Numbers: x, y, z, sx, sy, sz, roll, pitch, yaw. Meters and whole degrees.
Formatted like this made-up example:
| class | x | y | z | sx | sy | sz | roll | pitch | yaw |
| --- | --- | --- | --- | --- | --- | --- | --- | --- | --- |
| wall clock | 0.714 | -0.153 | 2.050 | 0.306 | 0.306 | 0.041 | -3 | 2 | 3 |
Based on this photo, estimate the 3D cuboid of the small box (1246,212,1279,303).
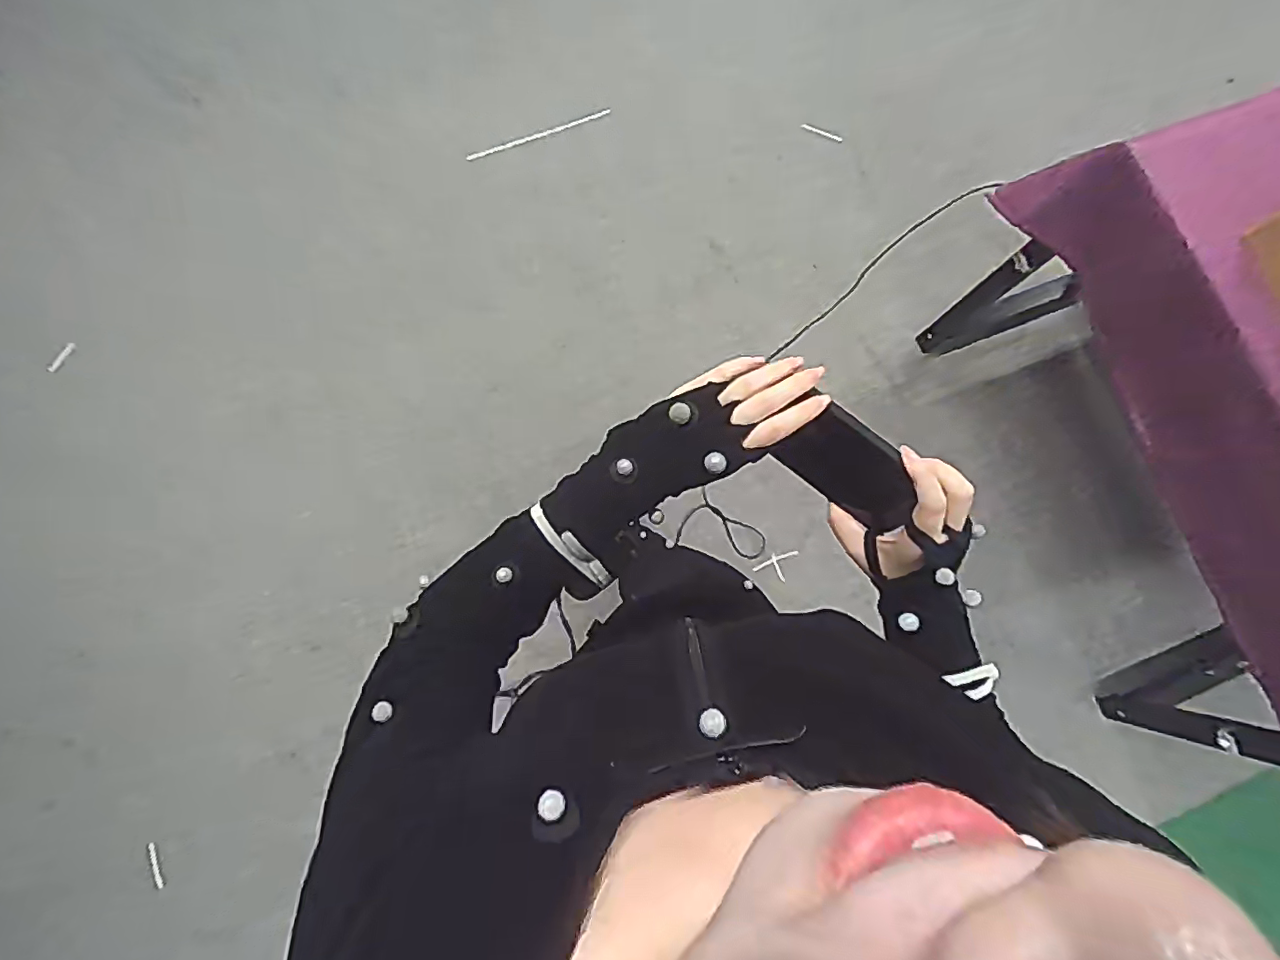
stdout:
| class | x | y | z | sx | sy | sz | roll | pitch | yaw |
| --- | --- | --- | --- | --- | --- | --- | --- | --- | --- |
| small box | 1.111 | -0.373 | 0.822 | 0.168 | 0.176 | 0.179 | -19 | 81 | -5 |
